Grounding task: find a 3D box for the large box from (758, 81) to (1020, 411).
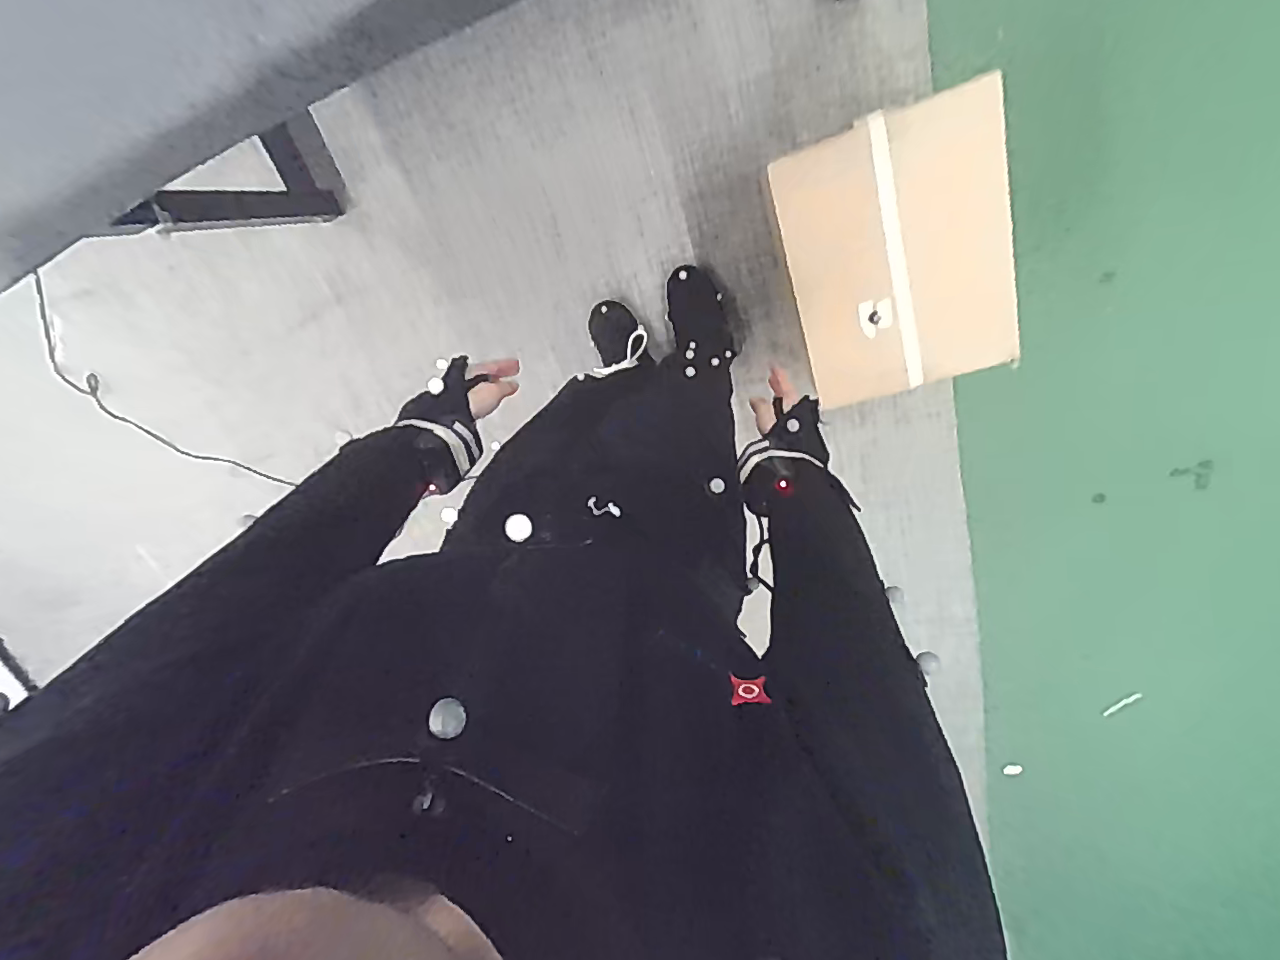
[{"bbox_3d":[0.419,-0.393,0.964,0.320,0.320,0.408,-14,113,17],"label":"large box"}]
